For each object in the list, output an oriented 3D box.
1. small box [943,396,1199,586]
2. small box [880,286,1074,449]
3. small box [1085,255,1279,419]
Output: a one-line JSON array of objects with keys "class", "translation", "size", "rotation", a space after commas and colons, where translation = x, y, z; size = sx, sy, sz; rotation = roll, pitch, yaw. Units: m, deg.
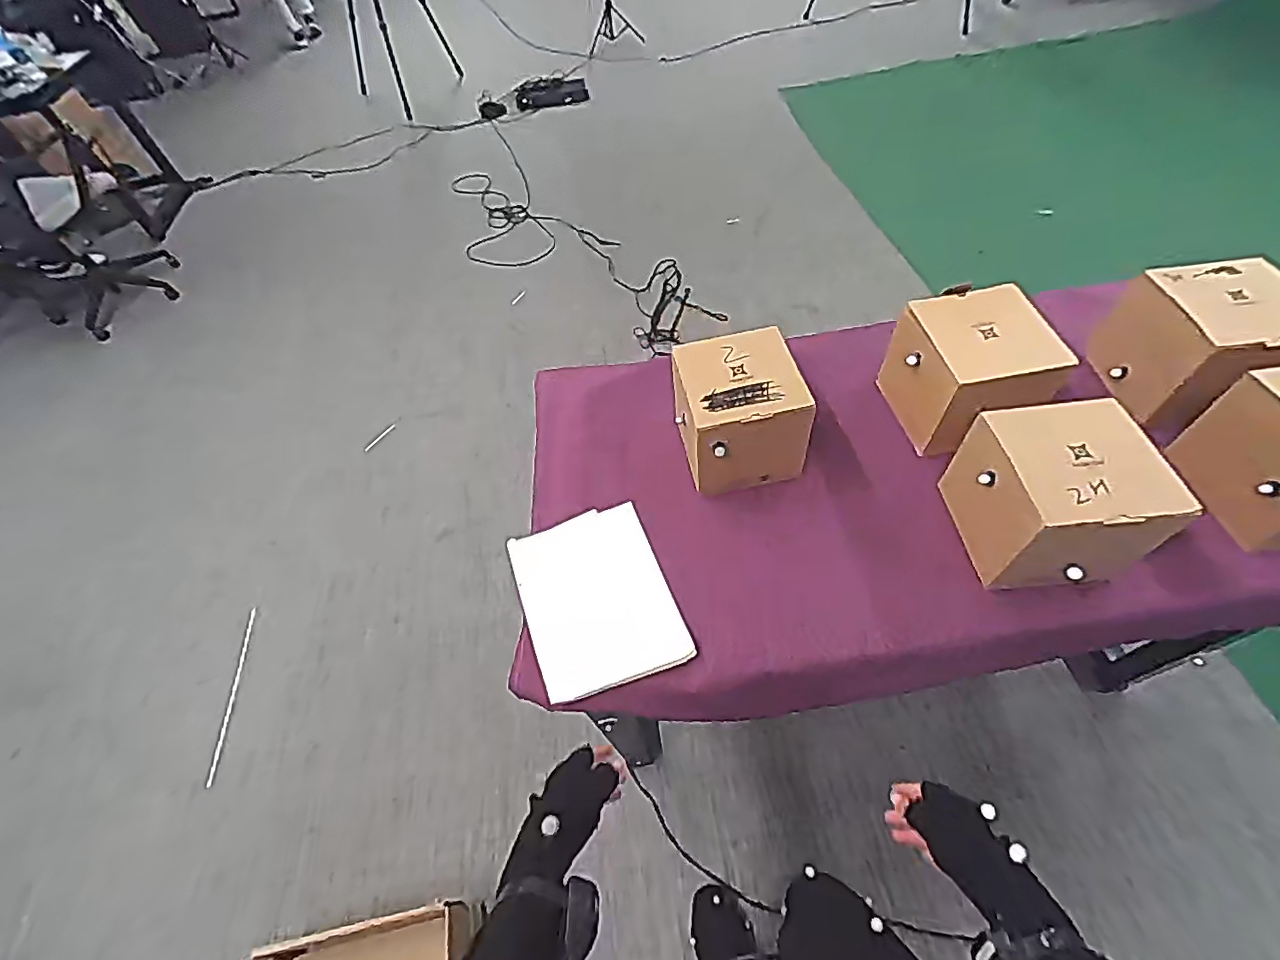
[{"class": "small box", "translation": [0.525, 0.018, 0.697], "size": [0.168, 0.176, 0.179], "rotation": [-6, 54, 4]}, {"class": "small box", "translation": [0.499, -0.164, 0.833], "size": [0.168, 0.176, 0.179], "rotation": [-11, 54, 0]}, {"class": "small box", "translation": [0.836, -0.206, 0.814], "size": [0.168, 0.176, 0.179], "rotation": [-4, 55, 4]}]
